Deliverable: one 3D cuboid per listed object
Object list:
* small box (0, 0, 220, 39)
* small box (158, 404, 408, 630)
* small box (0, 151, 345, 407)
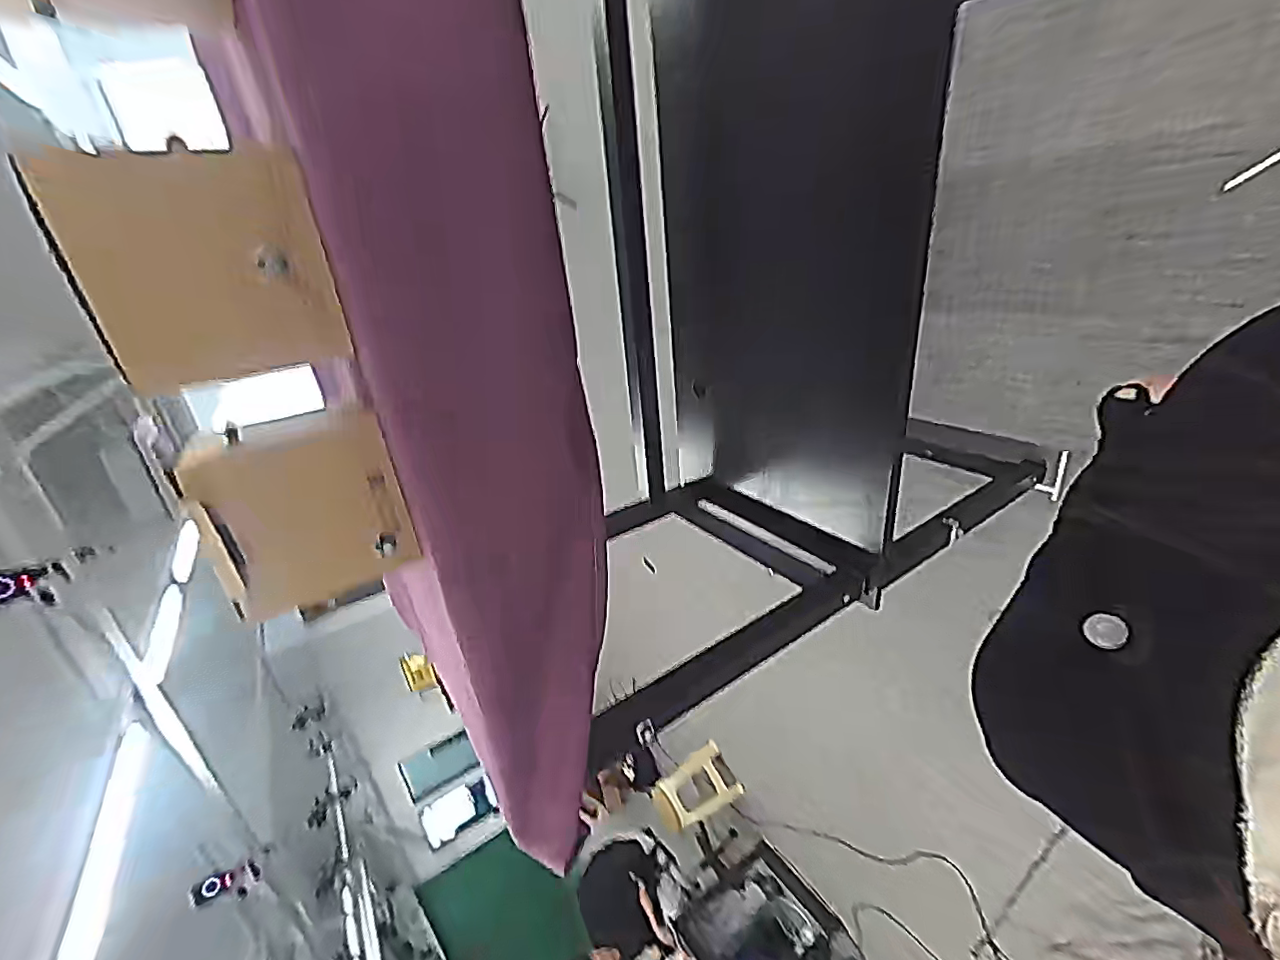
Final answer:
[{"bbox_3d":[-0.419,-0.429,0.372,0.179,0.176,0.168,32,136,49],"label":"small box"},{"bbox_3d":[-0.368,0.023,0.585,0.179,0.176,0.168,25,129,54],"label":"small box"},{"bbox_3d":[-0.389,-0.185,0.484,0.168,0.176,0.179,33,135,49],"label":"small box"}]
